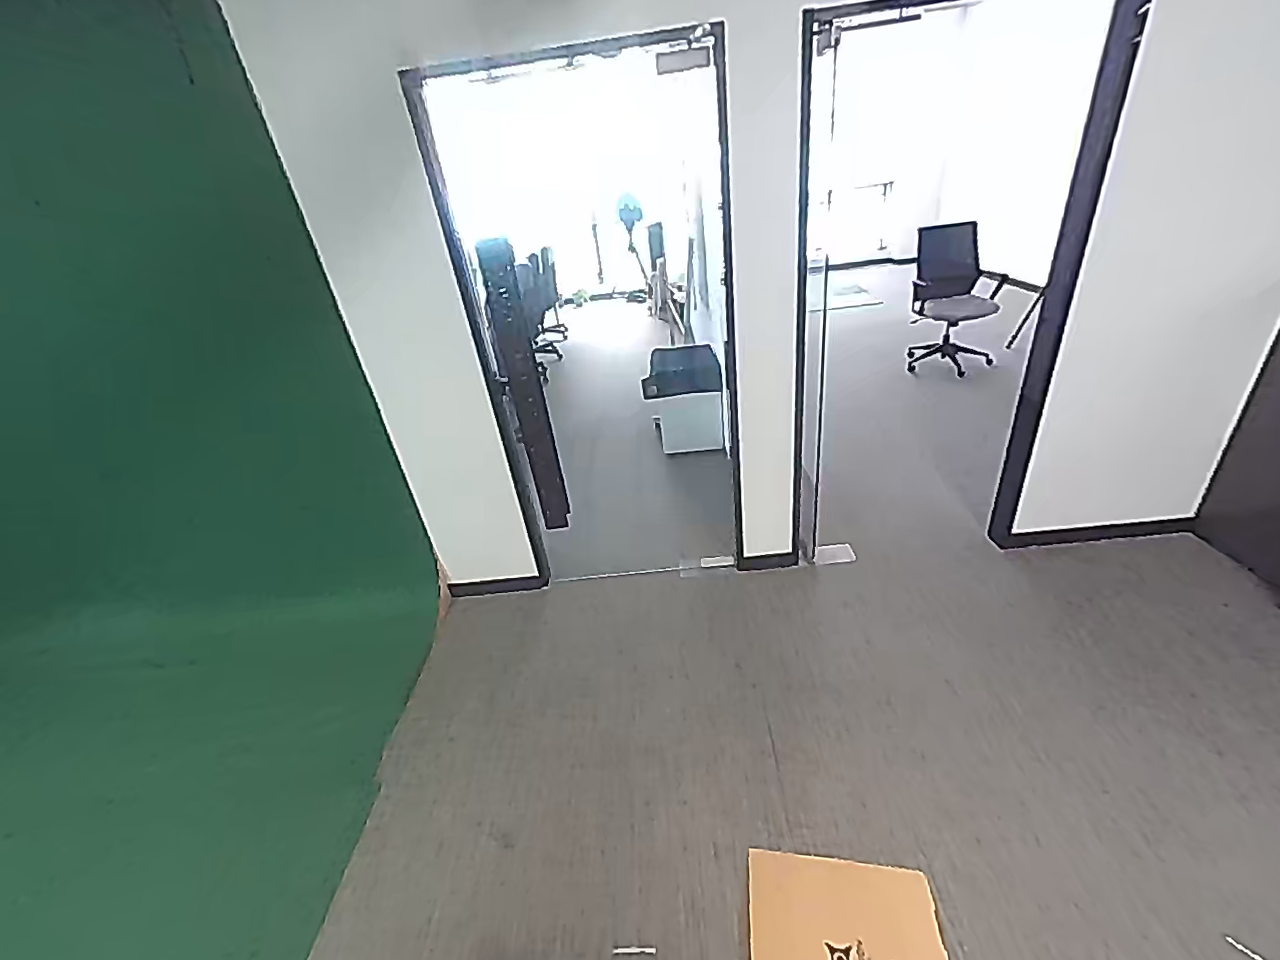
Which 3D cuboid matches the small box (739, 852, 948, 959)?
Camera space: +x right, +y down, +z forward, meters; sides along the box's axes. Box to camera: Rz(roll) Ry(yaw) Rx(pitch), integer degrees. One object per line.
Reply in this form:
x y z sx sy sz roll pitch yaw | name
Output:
0.183 0.491 0.509 0.179 0.176 0.168 3 33 9 | small box
